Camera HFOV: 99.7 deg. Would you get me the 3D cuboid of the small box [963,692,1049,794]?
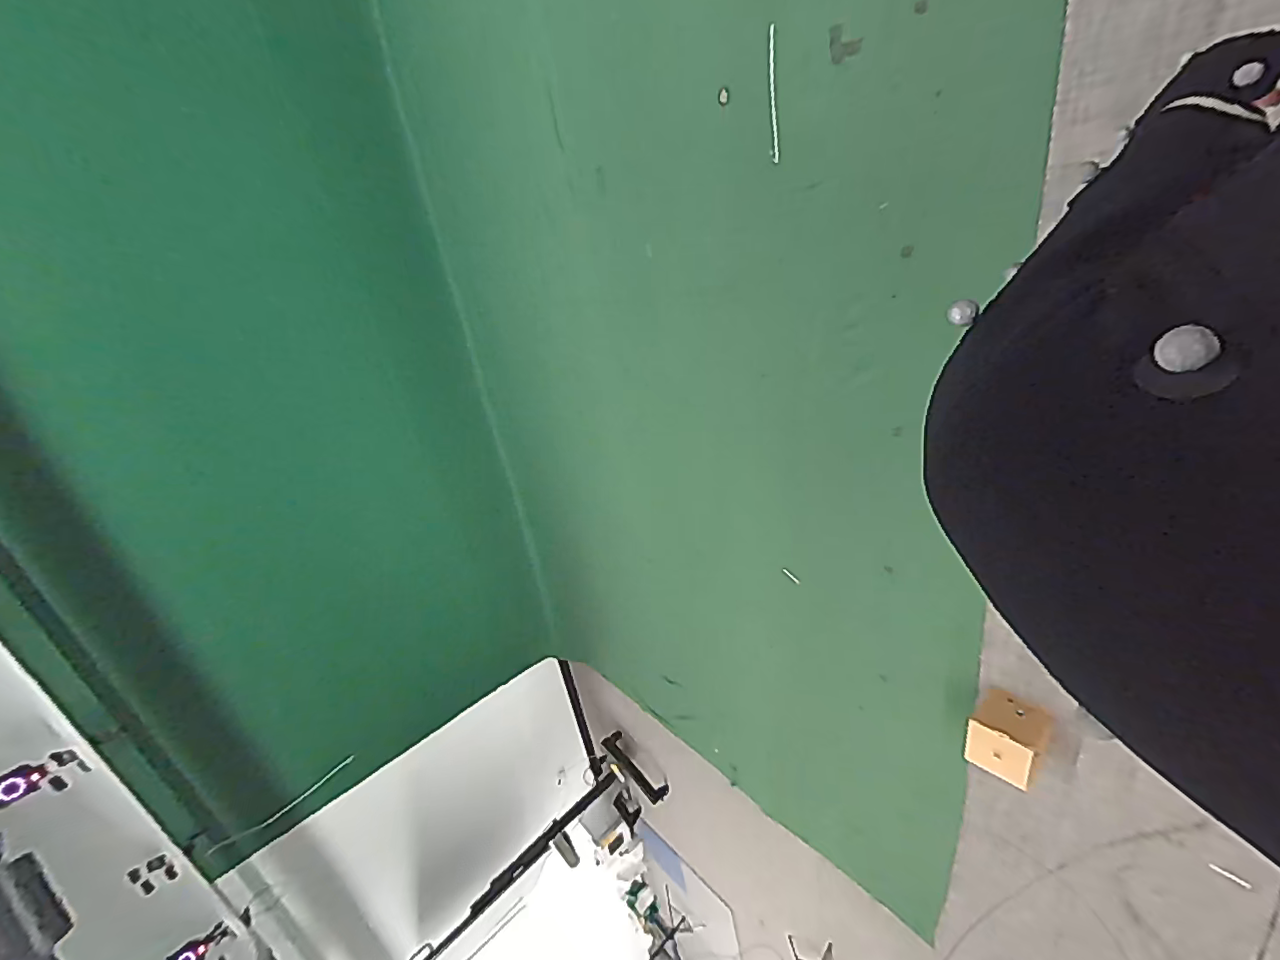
[{"bbox_3d":[1.096,0.781,1.621,0.168,0.176,0.179,18,125,46],"label":"small box"}]
